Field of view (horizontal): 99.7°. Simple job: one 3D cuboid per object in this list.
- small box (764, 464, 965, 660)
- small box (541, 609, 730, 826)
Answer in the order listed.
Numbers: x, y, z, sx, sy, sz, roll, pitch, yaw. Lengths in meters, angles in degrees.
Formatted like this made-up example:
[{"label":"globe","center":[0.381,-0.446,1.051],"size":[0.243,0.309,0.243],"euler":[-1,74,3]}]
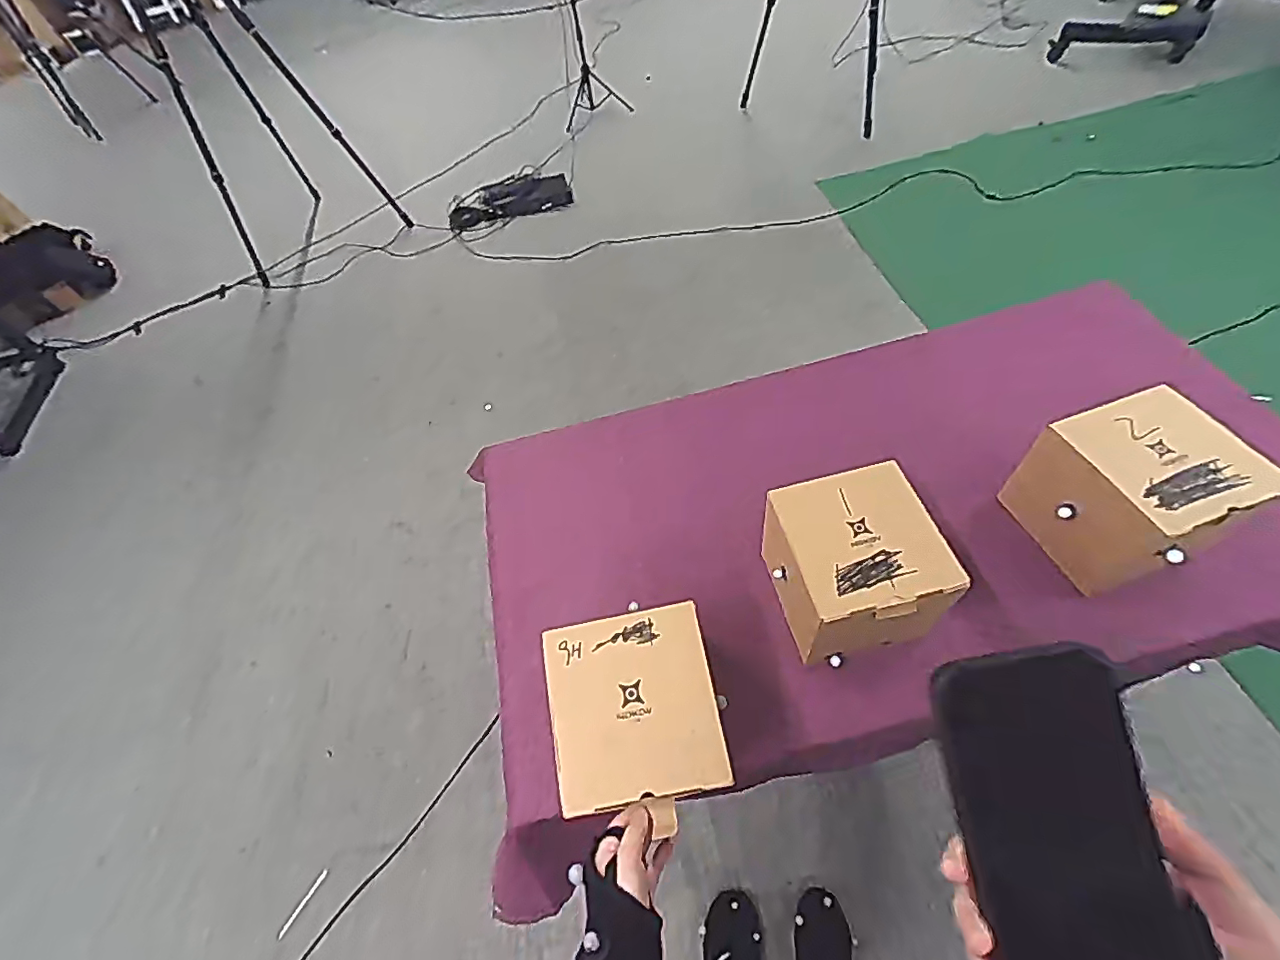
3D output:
[{"label":"small box","center":[0.263,0.113,0.684],"size":[0.168,0.176,0.179],"euler":[-15,53,0]},{"label":"small box","center":[-0.001,0.256,0.607],"size":[0.168,0.176,0.179],"euler":[-12,68,1]}]
